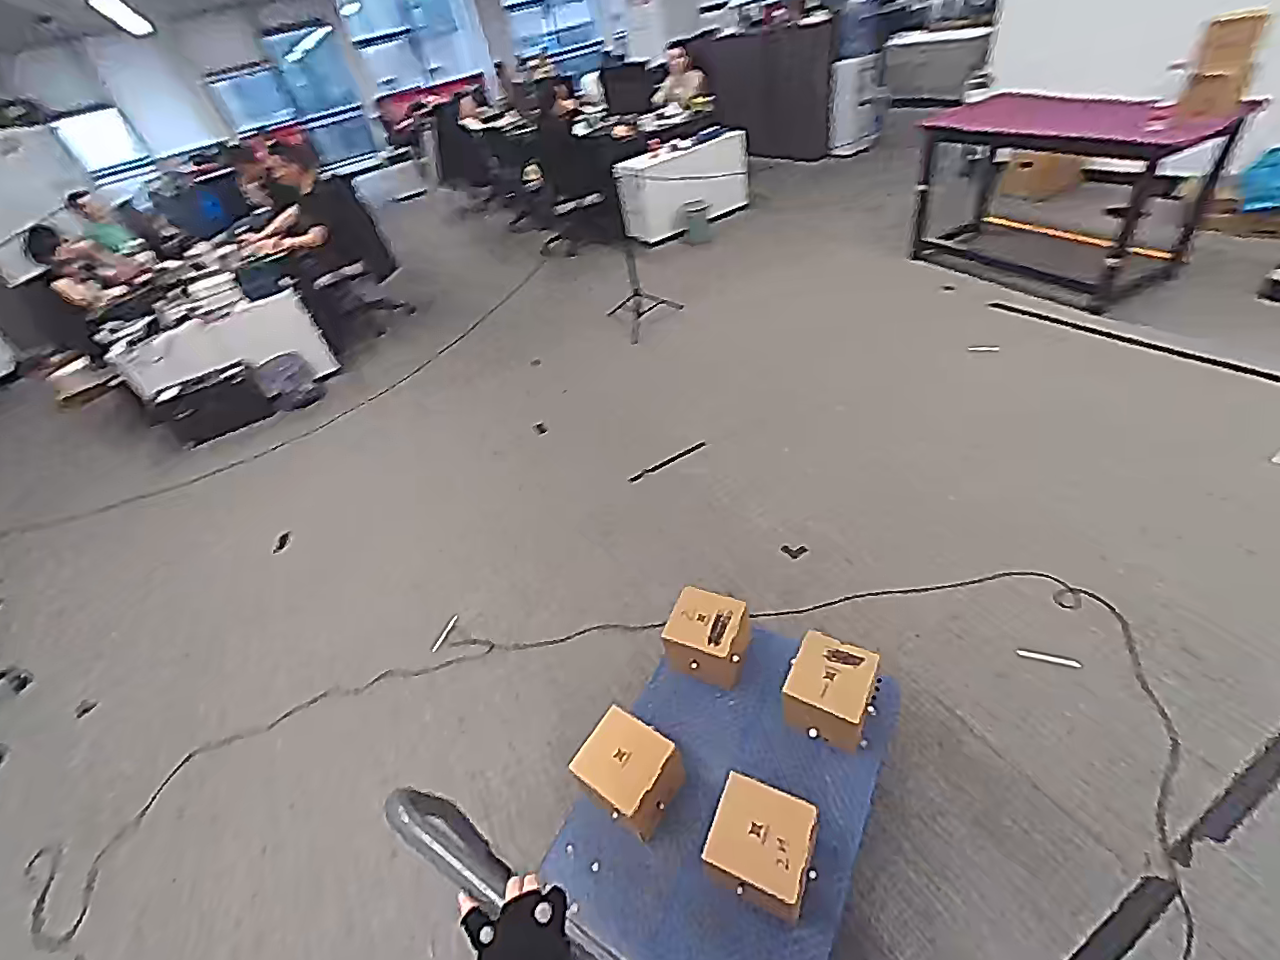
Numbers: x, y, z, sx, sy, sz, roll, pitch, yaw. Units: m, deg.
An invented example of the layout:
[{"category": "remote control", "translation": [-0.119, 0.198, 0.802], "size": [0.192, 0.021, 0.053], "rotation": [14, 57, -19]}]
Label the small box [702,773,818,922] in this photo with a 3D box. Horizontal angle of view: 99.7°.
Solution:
[{"category": "small box", "translation": [0.238, 0.716, 1.052], "size": [0.179, 0.176, 0.168], "rotation": [11, 47, 27]}]

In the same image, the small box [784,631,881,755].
[{"category": "small box", "translation": [0.442, 0.491, 1.249], "size": [0.168, 0.176, 0.179], "rotation": [15, 50, 31]}]

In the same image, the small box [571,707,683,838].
[{"category": "small box", "translation": [-0.023, 0.652, 1.202], "size": [0.179, 0.176, 0.168], "rotation": [20, 50, 32]}]
